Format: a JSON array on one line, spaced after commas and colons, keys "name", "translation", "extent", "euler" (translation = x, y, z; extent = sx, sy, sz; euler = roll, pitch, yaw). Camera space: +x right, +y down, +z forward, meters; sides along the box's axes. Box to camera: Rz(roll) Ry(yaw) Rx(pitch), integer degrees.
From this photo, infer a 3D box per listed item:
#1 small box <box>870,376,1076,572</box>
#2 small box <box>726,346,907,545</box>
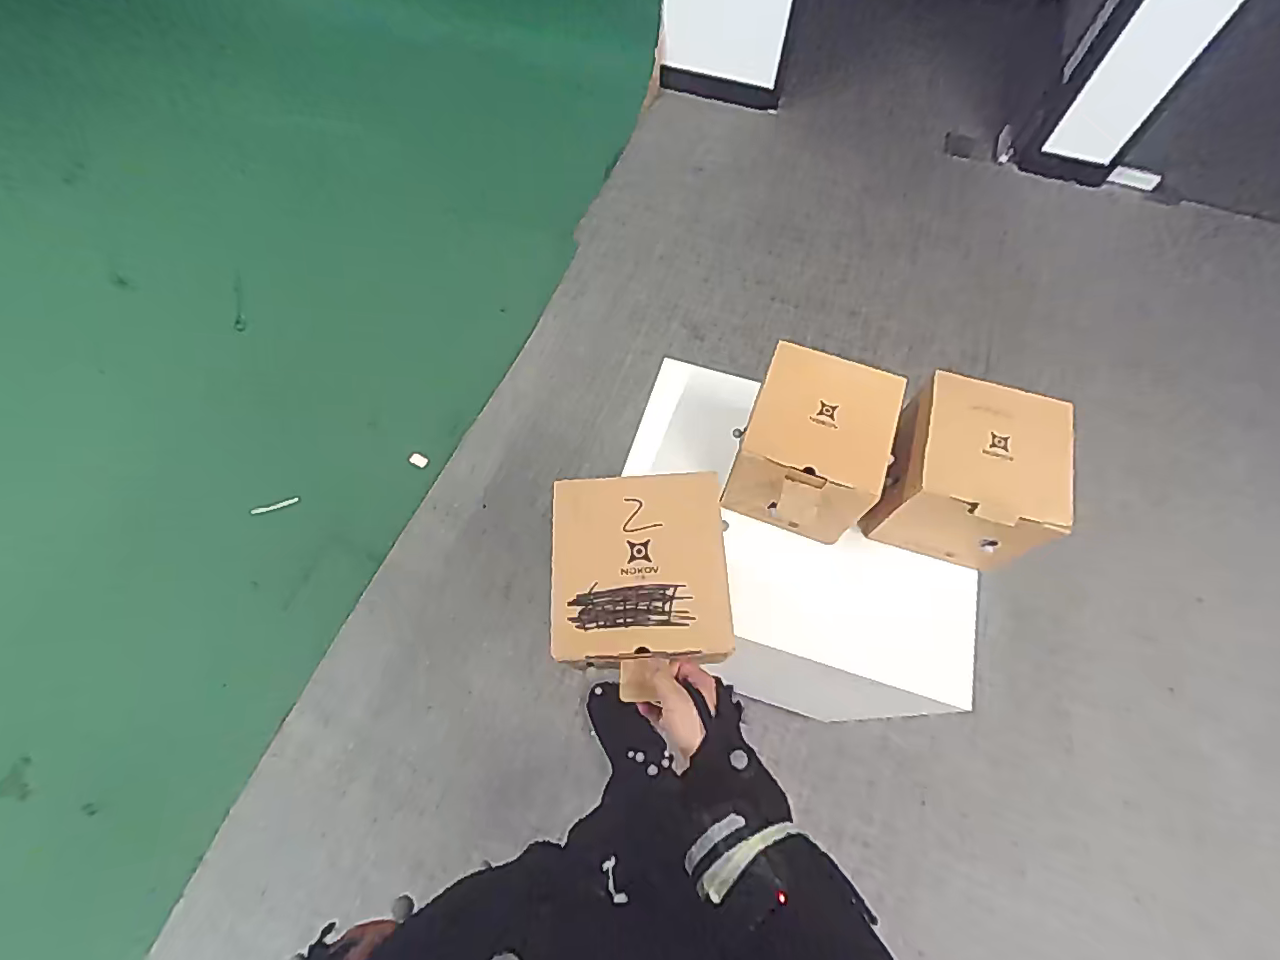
[{"name": "small box", "translation": [0.415, 0.001, 0.696], "extent": [0.168, 0.176, 0.179], "euler": [16, 65, 6]}, {"name": "small box", "translation": [0.222, -0.038, 0.715], "extent": [0.168, 0.176, 0.179], "euler": [20, 67, 8]}]
